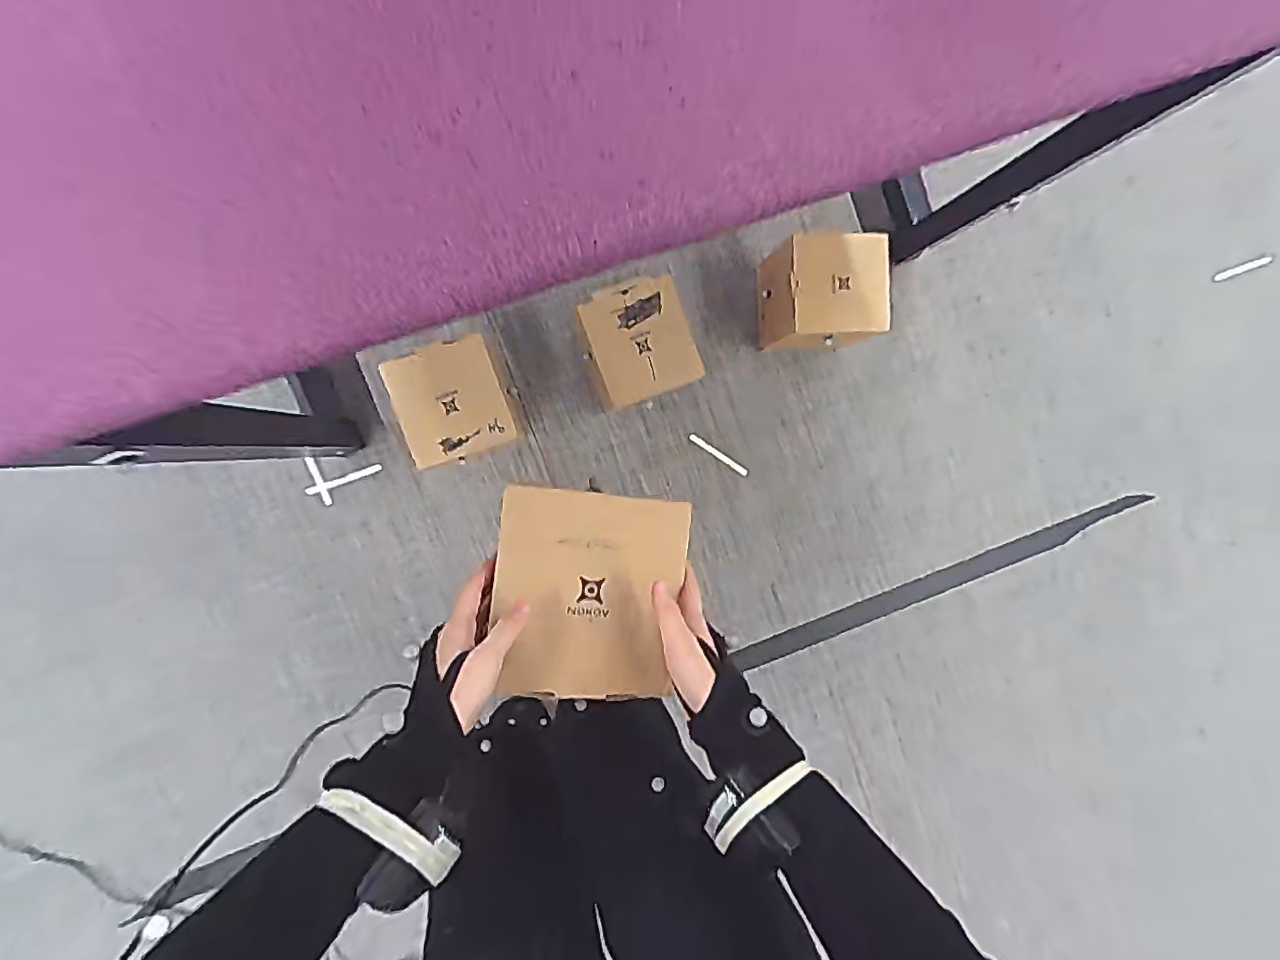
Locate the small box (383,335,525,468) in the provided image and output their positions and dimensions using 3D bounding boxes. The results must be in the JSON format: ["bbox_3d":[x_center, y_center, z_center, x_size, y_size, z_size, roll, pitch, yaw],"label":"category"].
[{"bbox_3d":[-0.306,-0.125,0.924,0.168,0.176,0.179,-19,94,-6],"label":"small box"}]

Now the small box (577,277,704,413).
[{"bbox_3d":[-0.008,-0.228,0.958,0.168,0.176,0.179,-21,96,-6],"label":"small box"}]

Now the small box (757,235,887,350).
[{"bbox_3d":[0.329,-0.338,0.999,0.179,0.176,0.168,-4,94,-7],"label":"small box"}]
